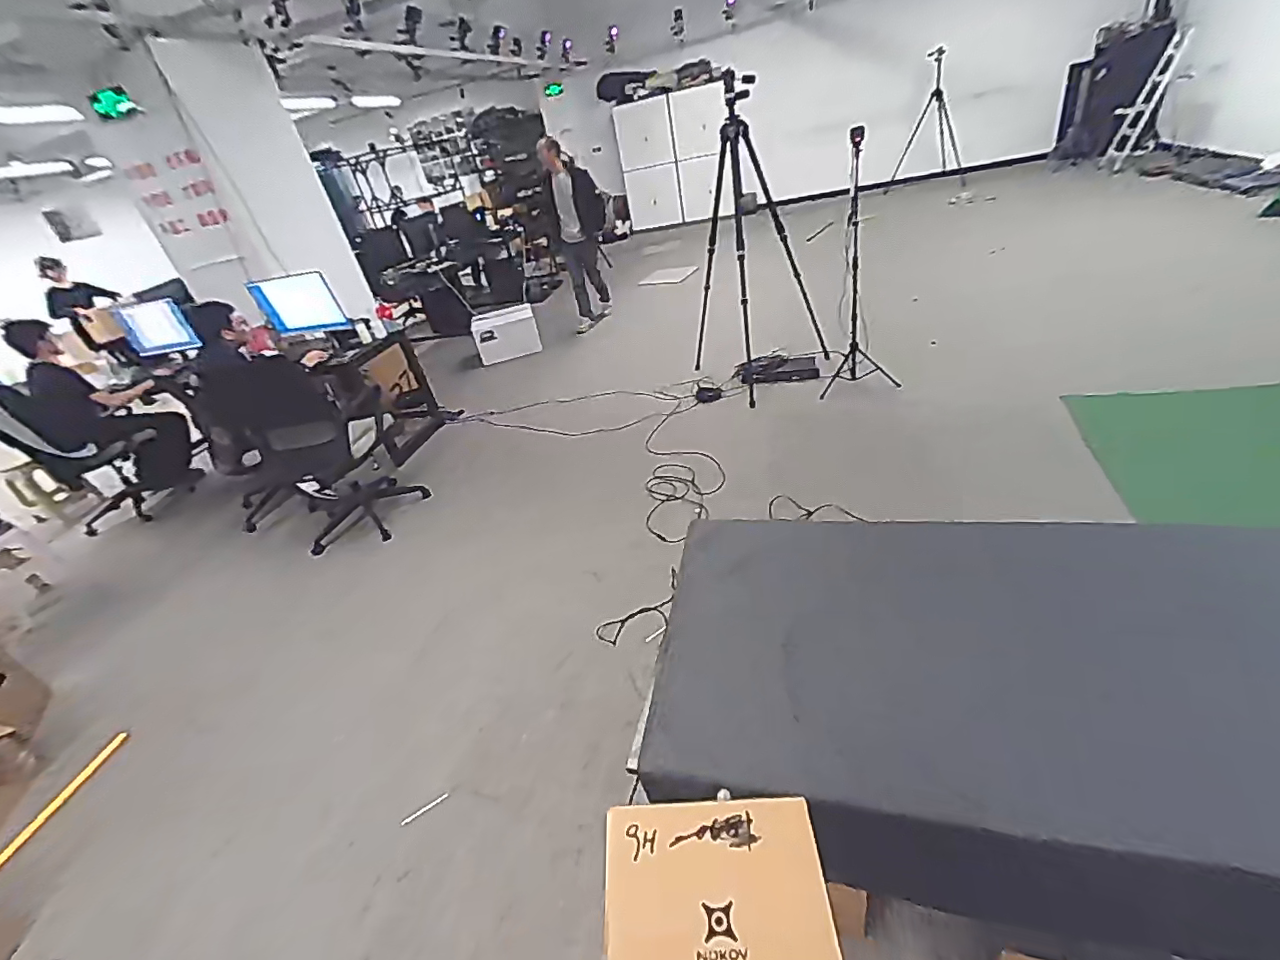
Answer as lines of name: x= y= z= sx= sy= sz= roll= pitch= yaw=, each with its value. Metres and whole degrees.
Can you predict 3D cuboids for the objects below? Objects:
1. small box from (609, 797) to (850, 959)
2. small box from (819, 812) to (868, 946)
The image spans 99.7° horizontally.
small box: x=0.065 y=0.375 z=0.428 sx=0.168 sy=0.176 sz=0.179 roll=-3 pitch=43 yaw=1
small box: x=0.408 y=0.871 z=1.196 sx=0.168 sy=0.176 sz=0.179 roll=3 pitch=35 yaw=26
